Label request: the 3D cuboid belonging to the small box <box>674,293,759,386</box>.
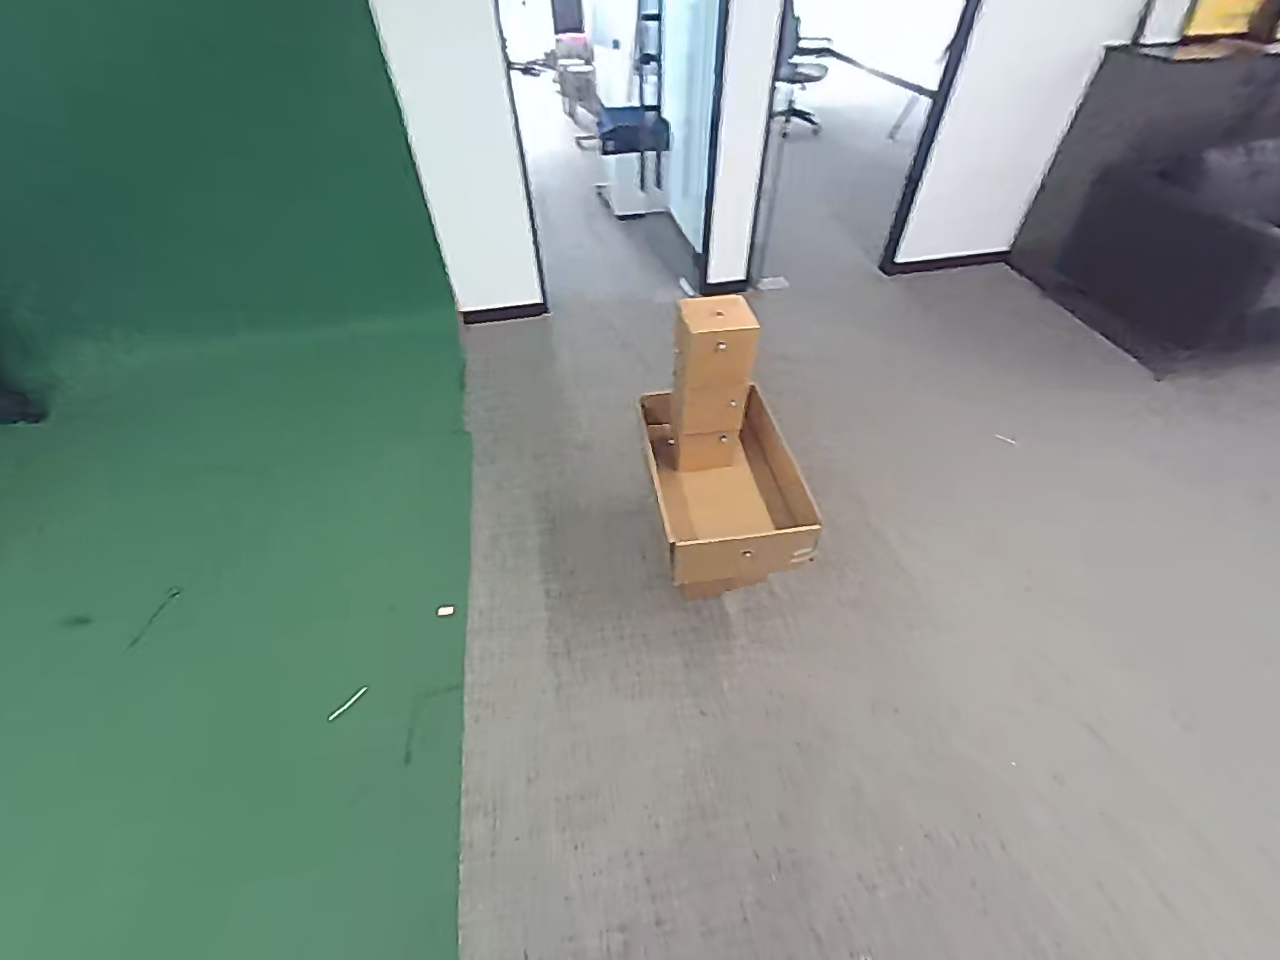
[{"bbox_3d":[0.192,-0.366,1.417,0.179,0.176,0.168,-7,48,-7],"label":"small box"}]
